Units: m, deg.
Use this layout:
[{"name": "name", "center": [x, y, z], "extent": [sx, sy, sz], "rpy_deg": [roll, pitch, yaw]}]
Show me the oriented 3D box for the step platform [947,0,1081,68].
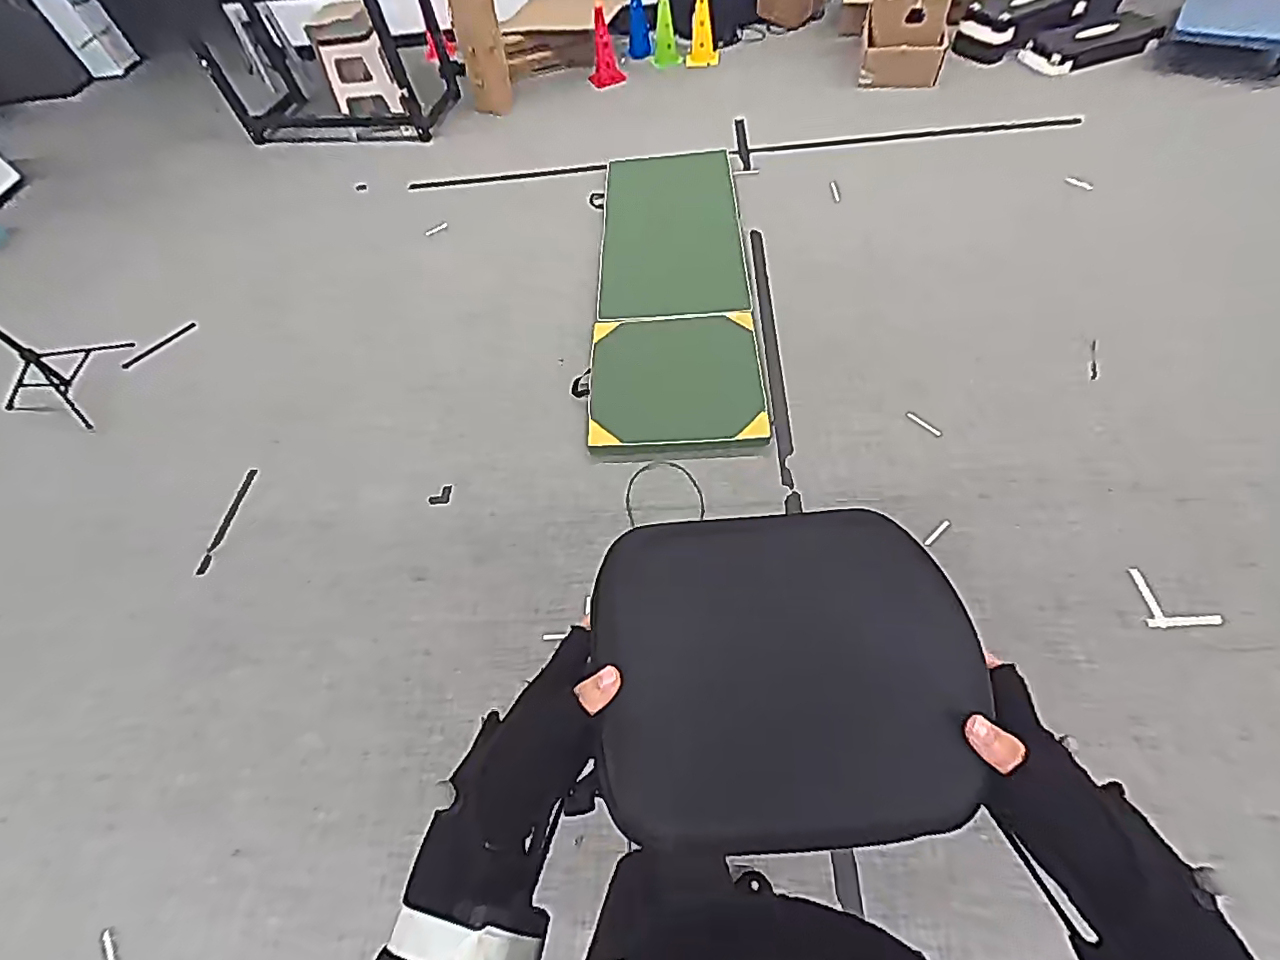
[{"name": "step platform", "center": [2.092, -2.549, 3.020], "extent": [0.684, 0.204, 0.286], "rpy_deg": [-28, 59, -10]}]
